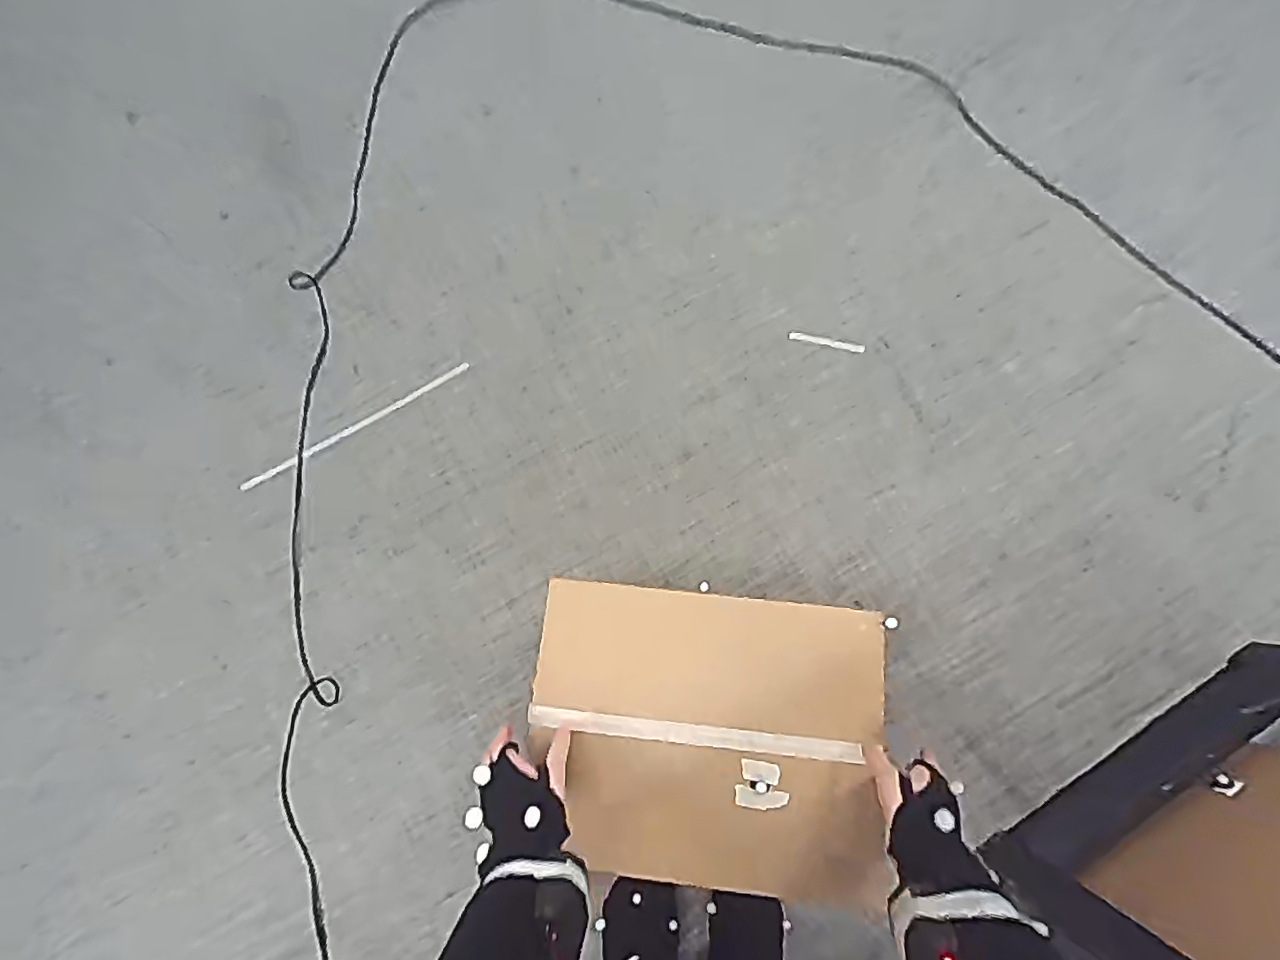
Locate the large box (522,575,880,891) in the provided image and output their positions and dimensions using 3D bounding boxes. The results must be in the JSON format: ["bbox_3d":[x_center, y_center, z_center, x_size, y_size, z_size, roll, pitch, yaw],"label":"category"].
[{"bbox_3d":[0.079,0.314,0.771,0.408,0.320,0.320,5,79,3],"label":"large box"}]
